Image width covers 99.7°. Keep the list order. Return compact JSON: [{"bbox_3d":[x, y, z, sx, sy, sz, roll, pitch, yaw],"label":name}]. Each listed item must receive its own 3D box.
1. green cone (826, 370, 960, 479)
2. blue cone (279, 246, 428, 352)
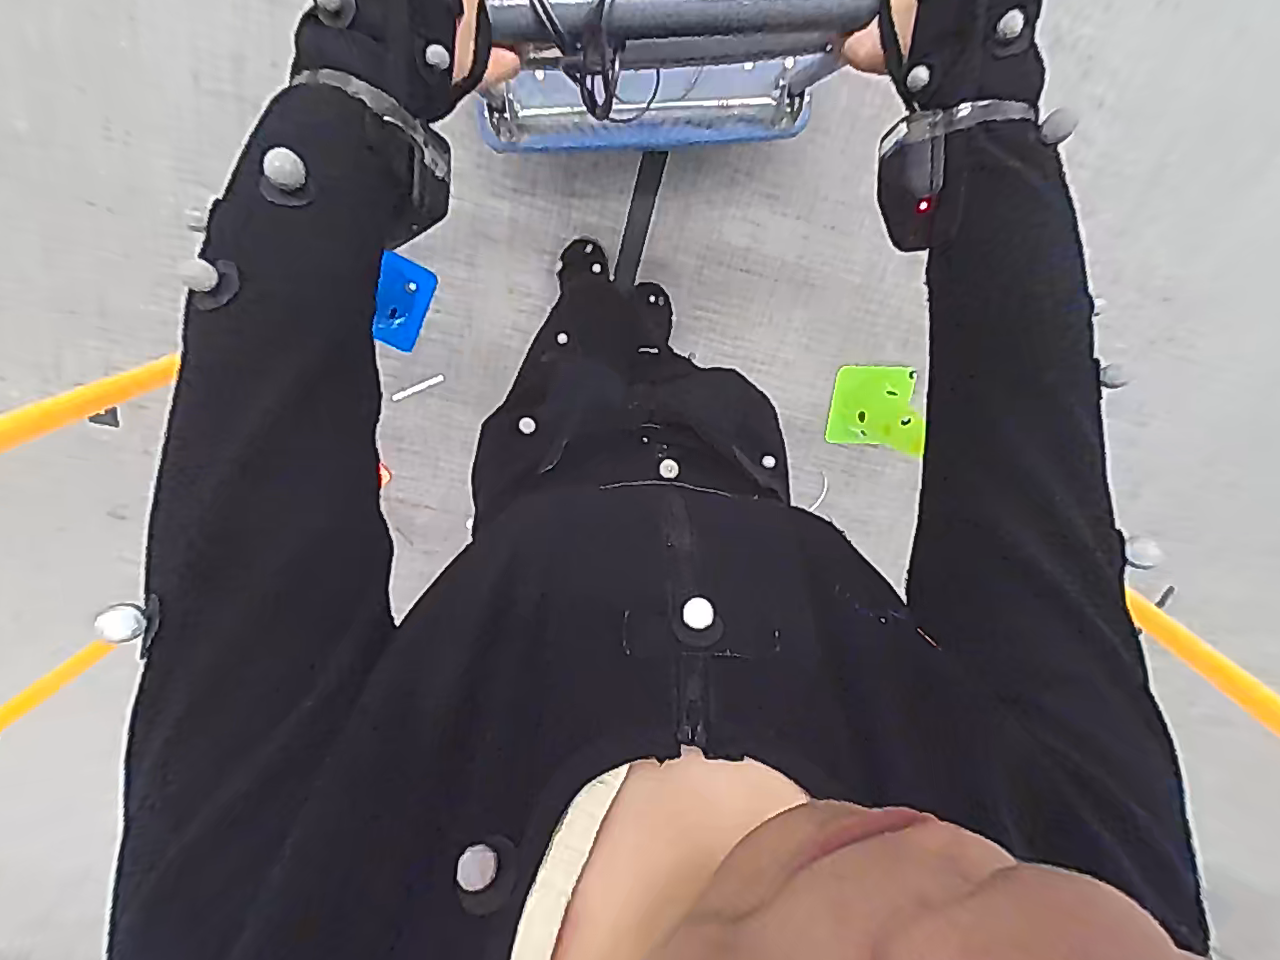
[{"bbox_3d":[0.578,-0.100,1.185,0.200,0.368,0.202,0,116,-3],"label":"green cone"},{"bbox_3d":[-0.573,-0.328,1.045,0.193,0.380,0.192,27,111,-14],"label":"blue cone"}]
